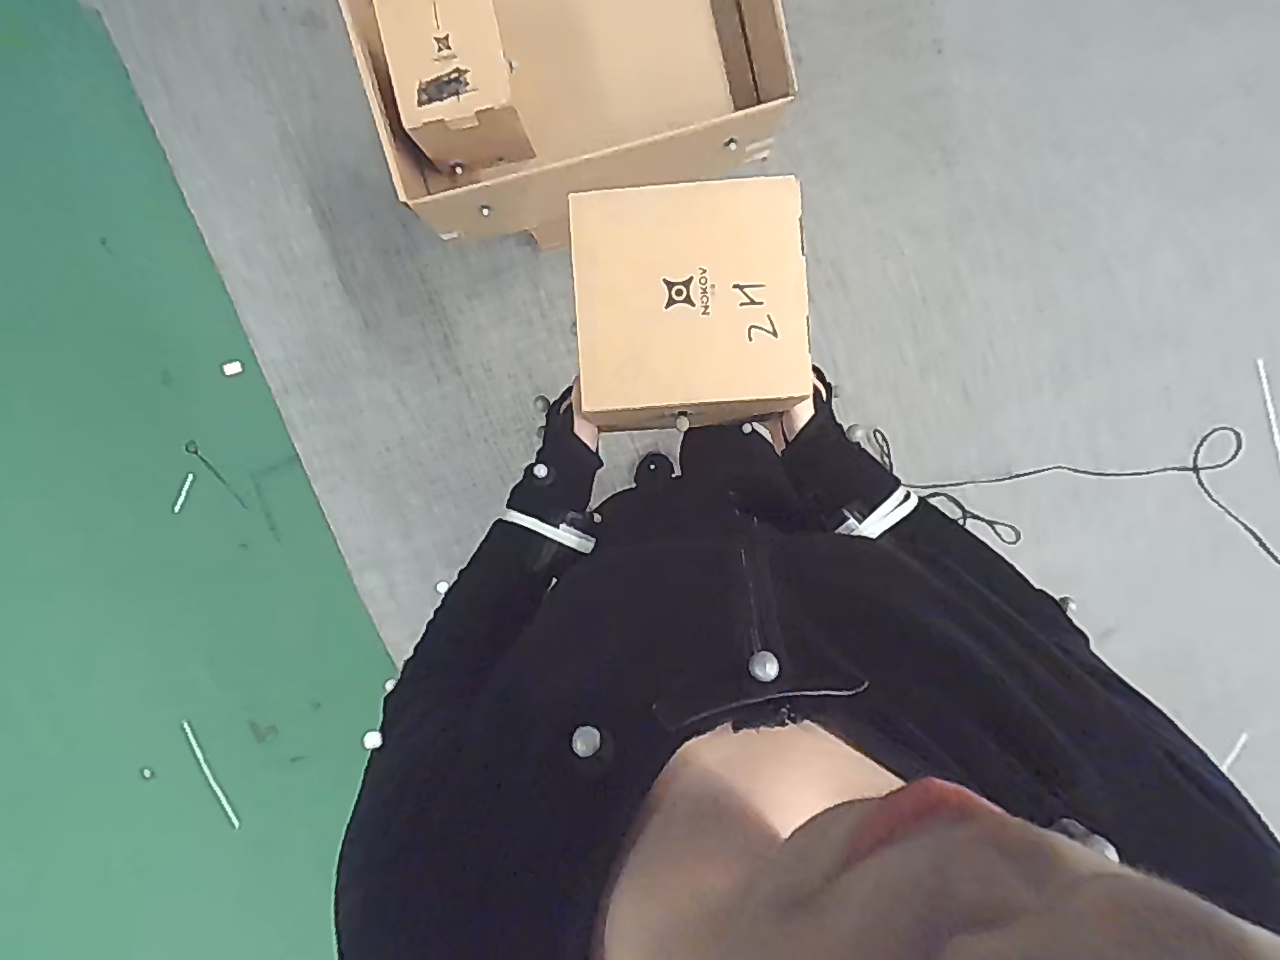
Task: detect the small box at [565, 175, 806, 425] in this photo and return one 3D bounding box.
[{"bbox_3d":[0.035,-0.142,0.486,0.179,0.176,0.168,-3,90,0],"label":"small box"}]
